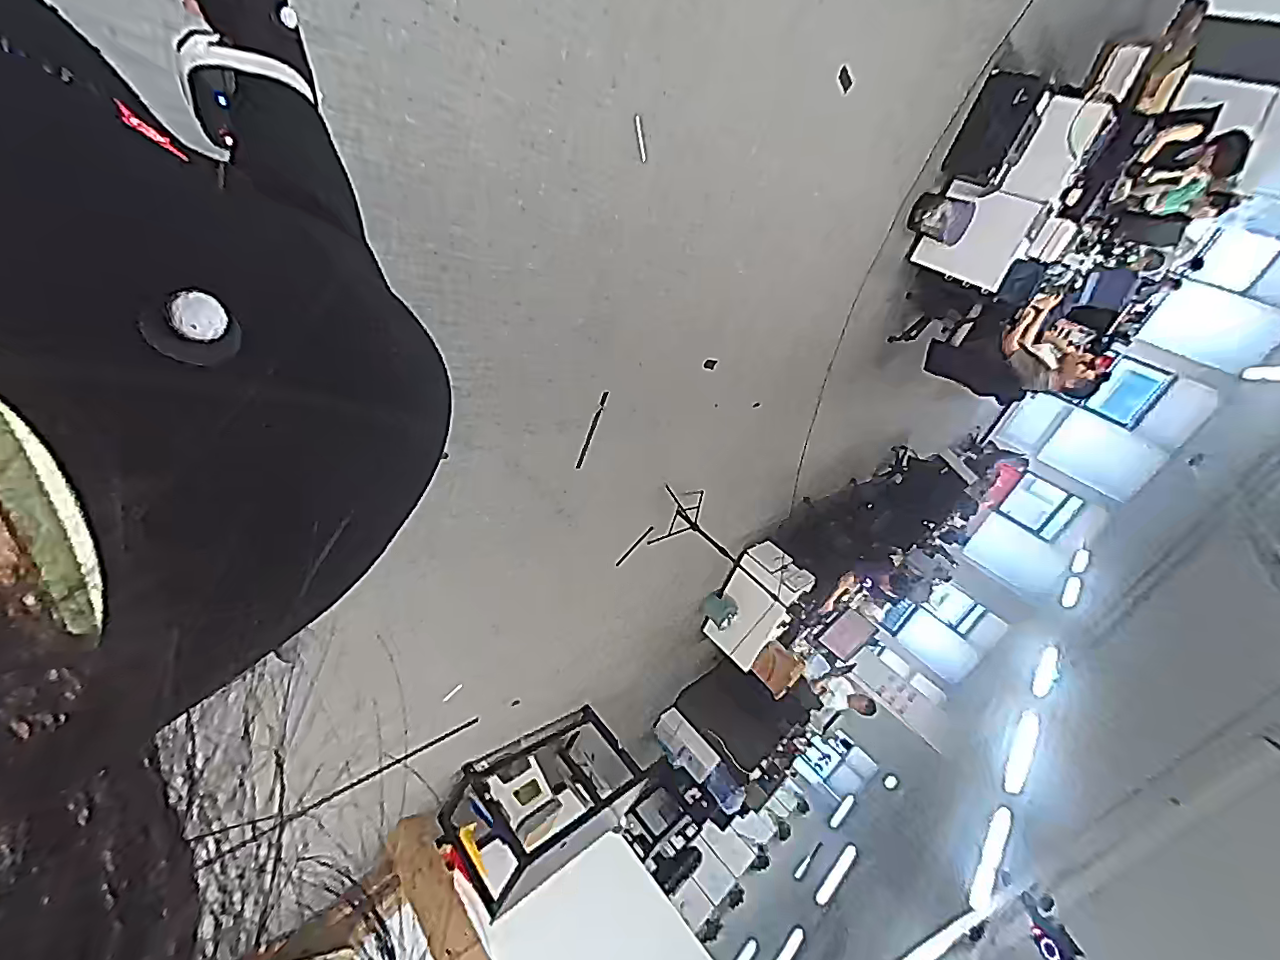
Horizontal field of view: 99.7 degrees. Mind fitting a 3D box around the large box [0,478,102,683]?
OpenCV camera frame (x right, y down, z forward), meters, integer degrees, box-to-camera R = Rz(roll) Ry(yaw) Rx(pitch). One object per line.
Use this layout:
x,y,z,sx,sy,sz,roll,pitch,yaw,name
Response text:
-1.381,0.208,1.073,0.408,0.320,0.320,-3,127,-52,large box
